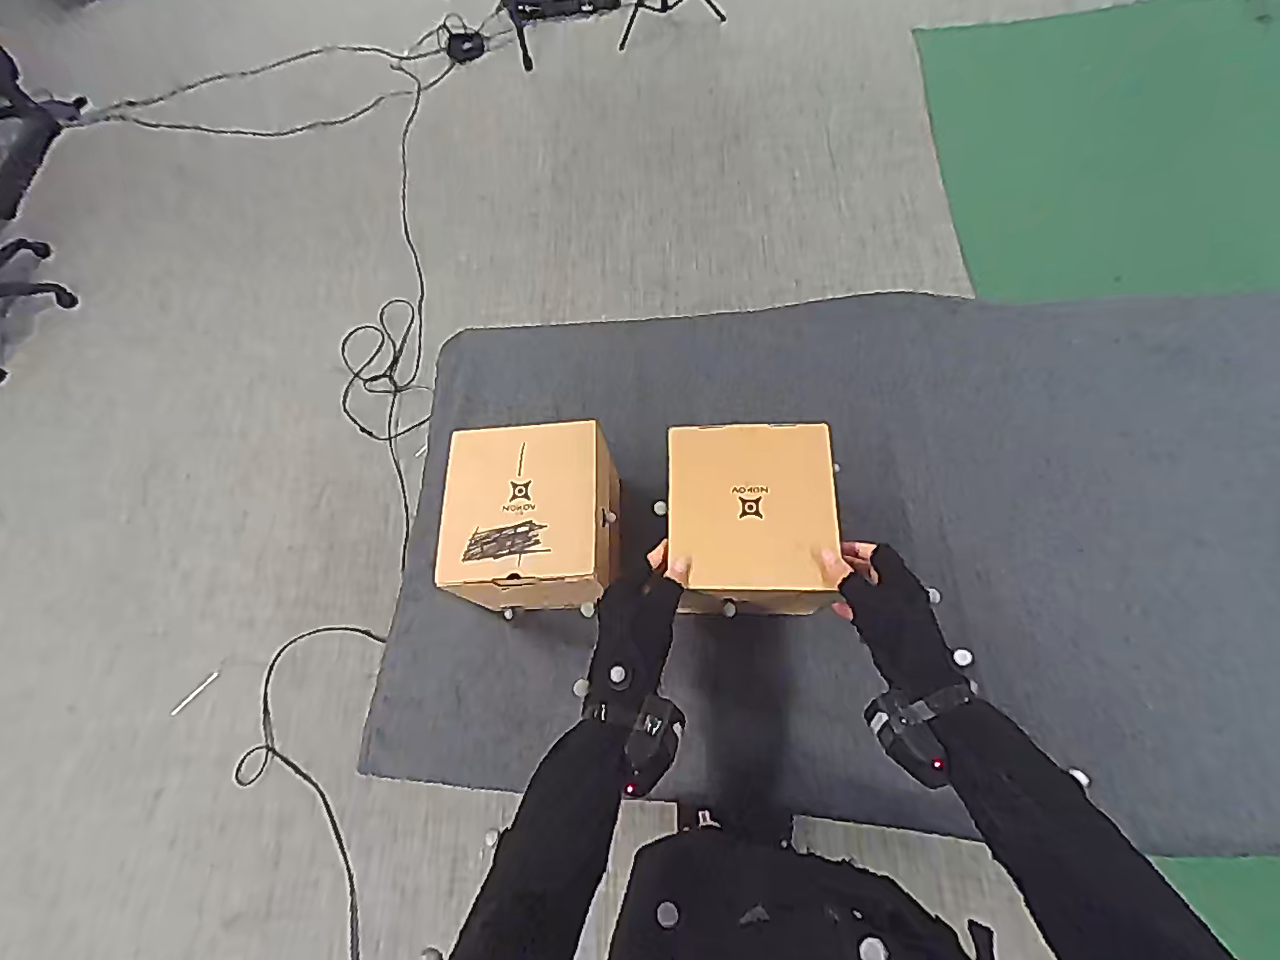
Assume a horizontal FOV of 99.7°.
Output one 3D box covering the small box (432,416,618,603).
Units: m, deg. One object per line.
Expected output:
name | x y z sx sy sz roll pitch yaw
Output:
small box | -0.118 0.046 0.632 0.168 0.176 0.179 -4 67 6

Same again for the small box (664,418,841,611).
small box | 0.117 0.048 0.604 0.168 0.176 0.179 -1 68 7
